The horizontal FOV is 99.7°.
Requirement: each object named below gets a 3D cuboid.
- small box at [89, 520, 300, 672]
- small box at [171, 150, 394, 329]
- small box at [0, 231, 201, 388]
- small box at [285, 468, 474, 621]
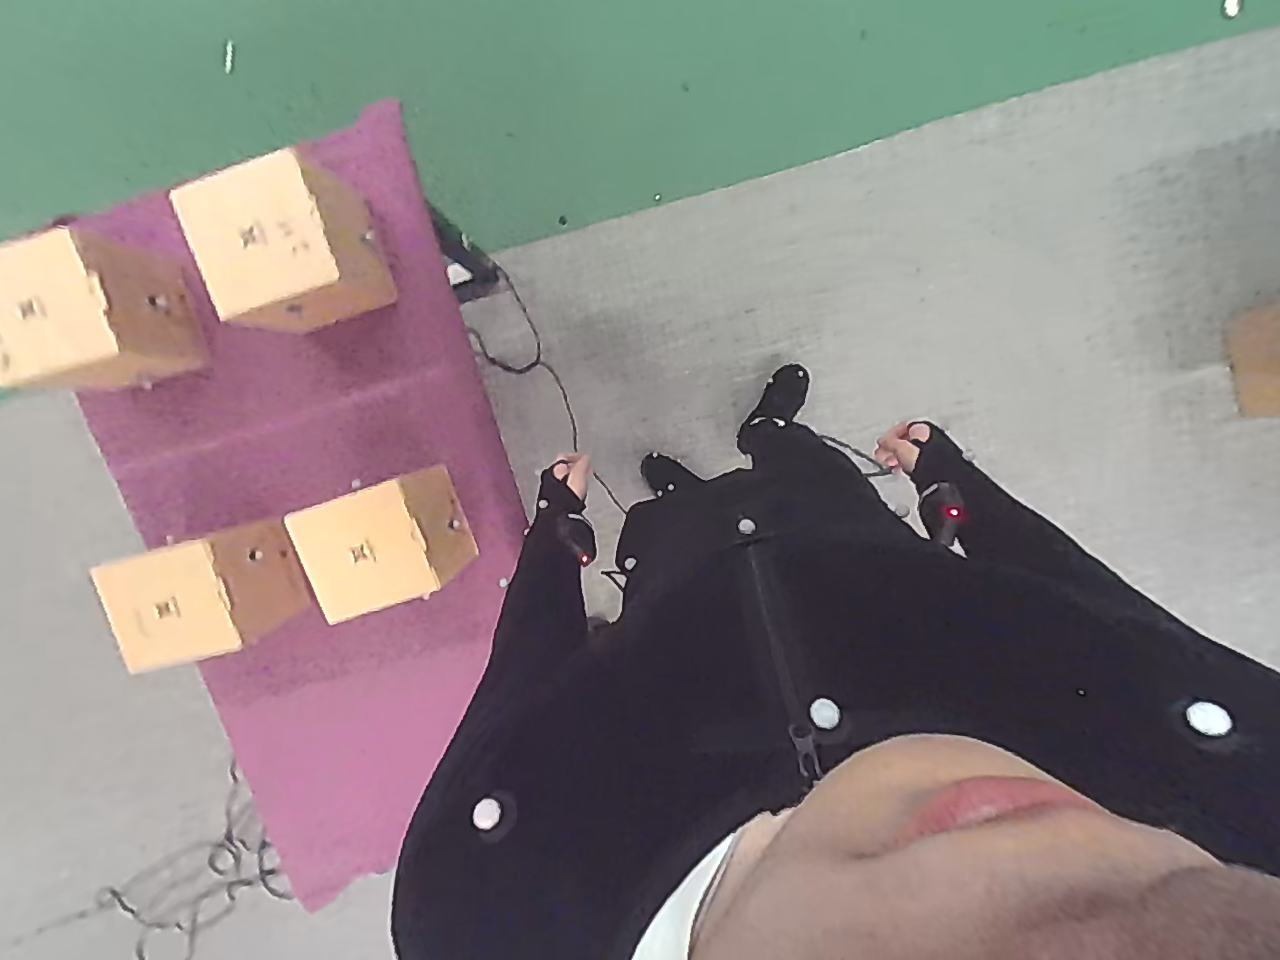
[{"bbox_3d":[-0.670,0.170,0.844,0.179,0.176,0.168,-13,97,2],"label":"small box"},{"bbox_3d":[-0.490,-0.325,0.769,0.179,0.176,0.168,-16,99,4],"label":"small box"},{"bbox_3d":[-0.792,-0.235,0.787,0.179,0.176,0.168,-15,97,0],"label":"small box"},{"bbox_3d":[-0.384,0.089,0.829,0.179,0.176,0.168,-19,97,4],"label":"small box"}]
